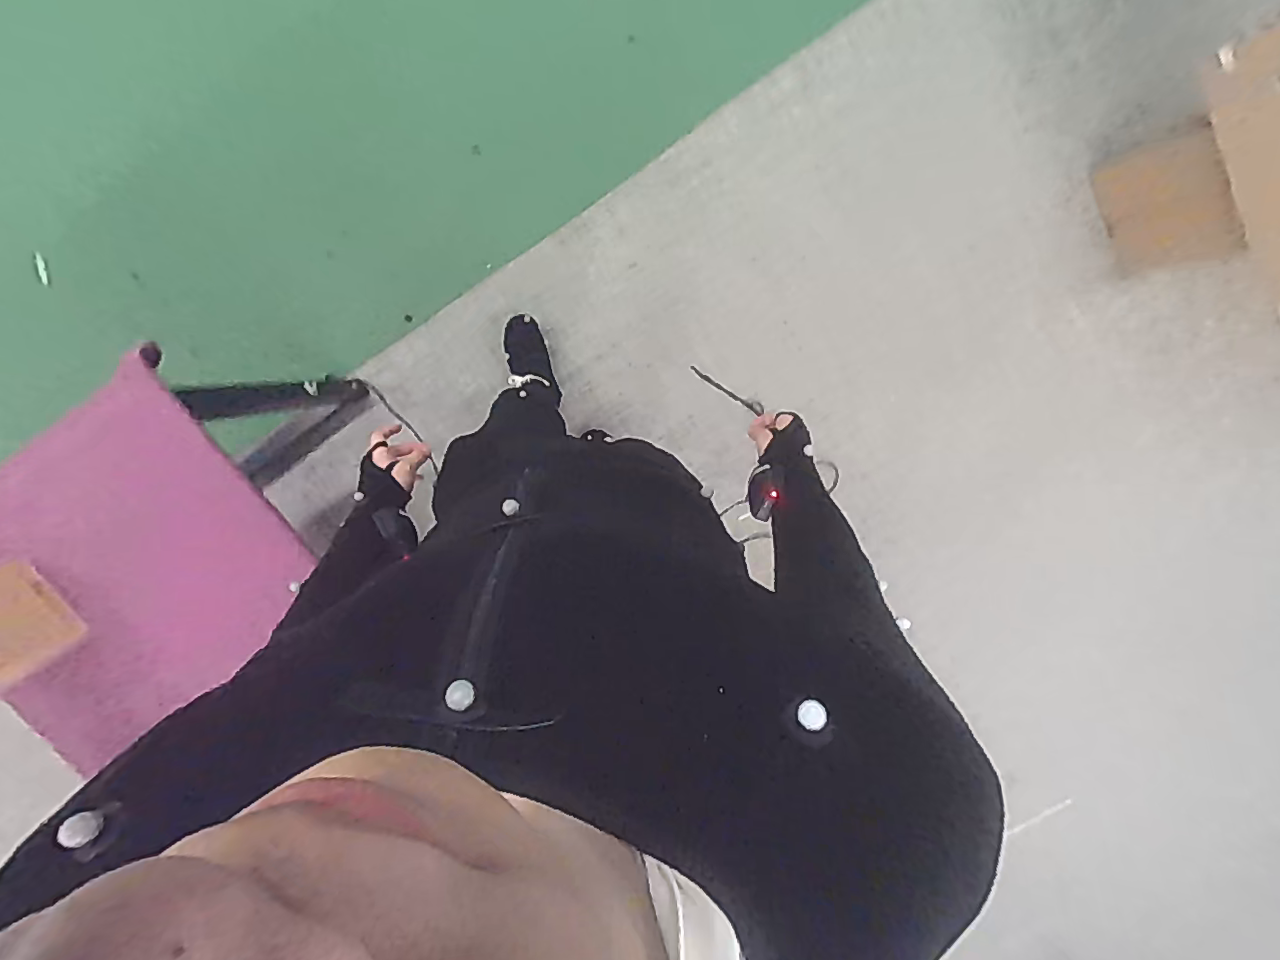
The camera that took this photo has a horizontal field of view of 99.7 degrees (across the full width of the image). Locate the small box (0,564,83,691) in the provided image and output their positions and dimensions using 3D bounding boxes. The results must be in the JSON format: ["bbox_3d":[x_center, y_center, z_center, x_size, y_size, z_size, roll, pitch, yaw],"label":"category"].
[{"bbox_3d":[-1.056,0.260,0.841,0.179,0.176,0.168,-32,101,6],"label":"small box"}]

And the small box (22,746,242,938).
[{"bbox_3d":[-0.840,0.602,0.916,0.179,0.176,0.168,-35,101,5],"label":"small box"}]
